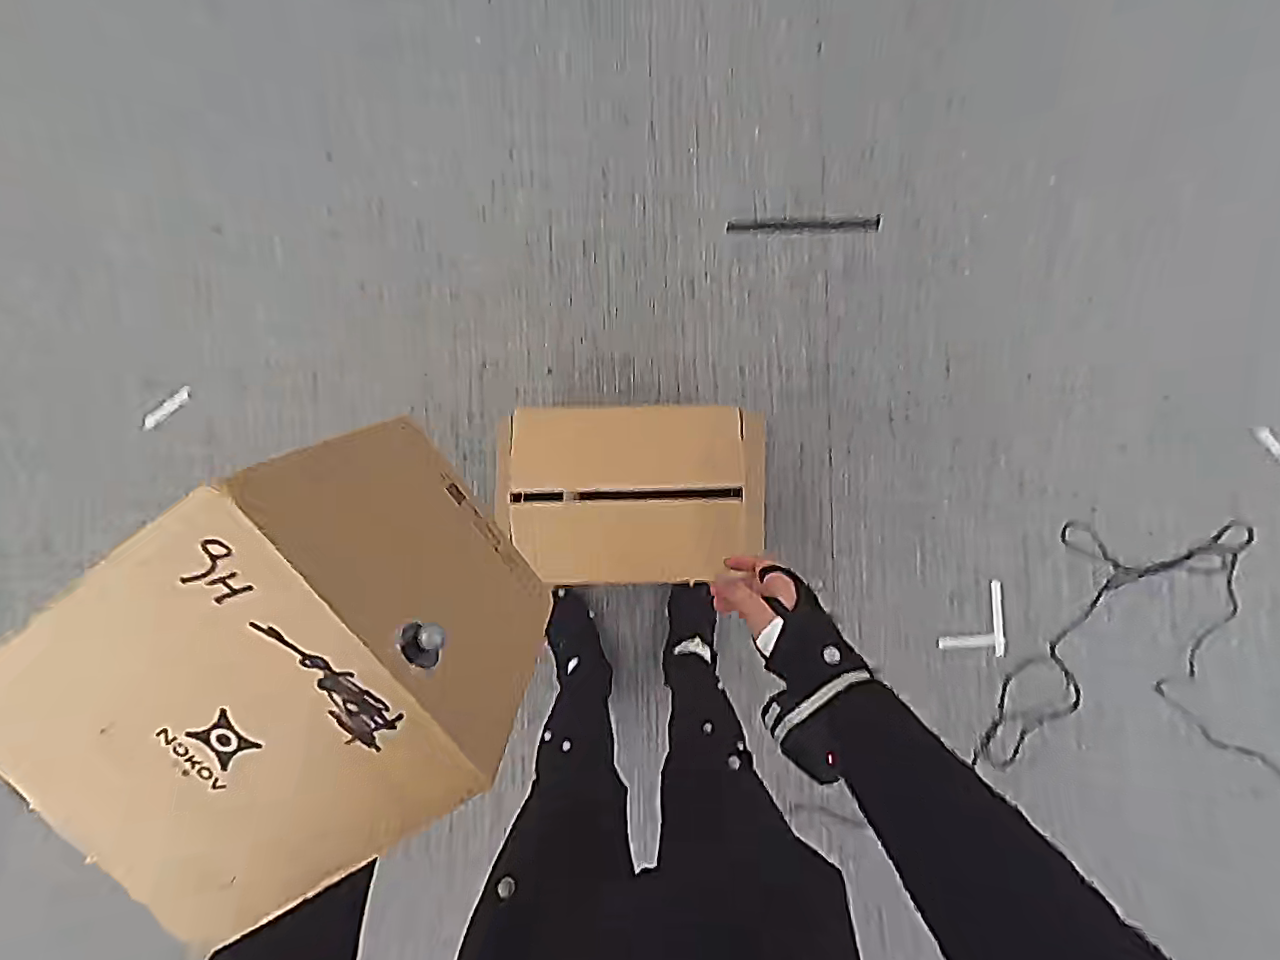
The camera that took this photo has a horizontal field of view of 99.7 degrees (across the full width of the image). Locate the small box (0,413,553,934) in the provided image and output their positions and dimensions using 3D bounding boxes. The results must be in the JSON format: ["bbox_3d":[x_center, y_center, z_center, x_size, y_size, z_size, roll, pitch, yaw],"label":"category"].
[{"bbox_3d":[-0.172,0.083,0.302,0.179,0.176,0.168,-33,103,10],"label":"small box"}]
